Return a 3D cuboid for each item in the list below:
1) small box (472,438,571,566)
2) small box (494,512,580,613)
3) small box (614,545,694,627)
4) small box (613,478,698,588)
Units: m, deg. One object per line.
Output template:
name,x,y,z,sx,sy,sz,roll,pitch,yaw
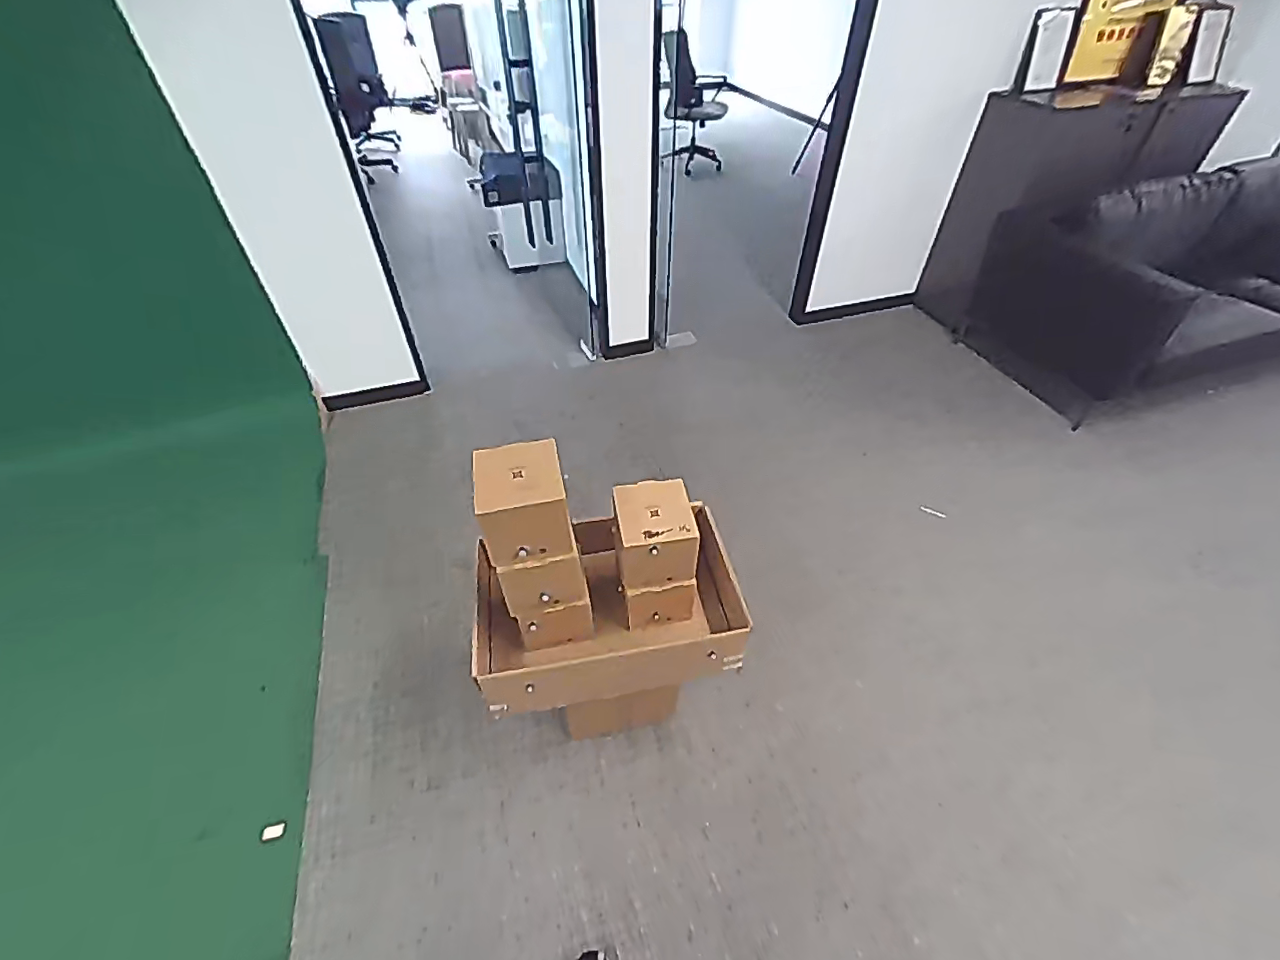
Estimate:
small box,-0.234,0.043,1.073,0.168,0.176,0.179,-9,47,-9
small box,-0.229,0.161,1.185,0.168,0.176,0.179,-10,47,-11
small box,0.027,0.240,1.346,0.168,0.176,0.179,-8,48,-9
small box,0.027,0.121,1.233,0.168,0.176,0.179,-6,47,-7
